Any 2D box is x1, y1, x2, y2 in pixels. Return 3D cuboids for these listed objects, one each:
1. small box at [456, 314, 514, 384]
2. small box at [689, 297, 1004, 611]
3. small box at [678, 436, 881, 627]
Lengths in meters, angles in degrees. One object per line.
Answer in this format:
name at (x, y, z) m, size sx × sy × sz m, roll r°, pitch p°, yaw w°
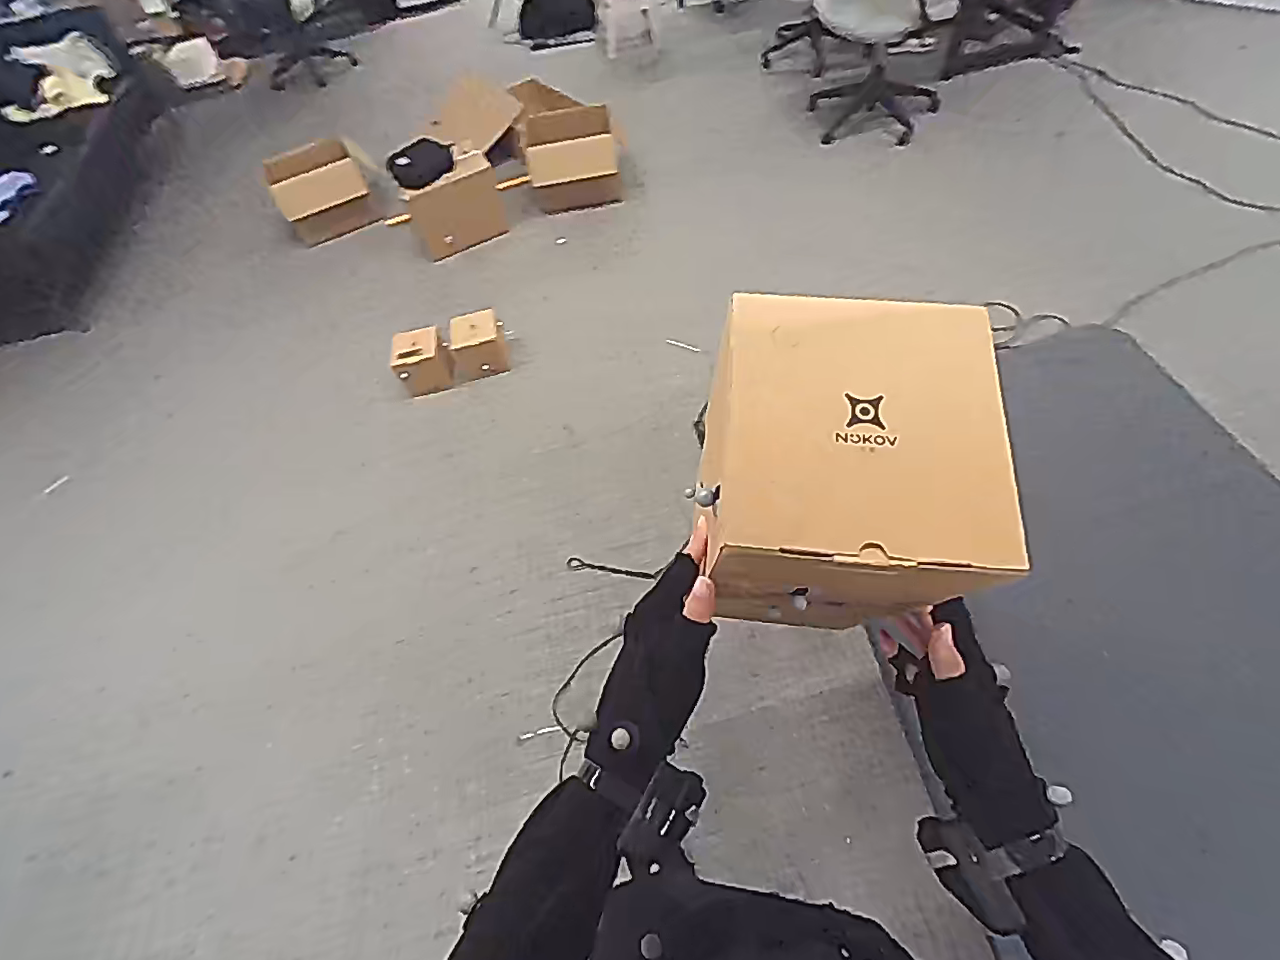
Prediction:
small box at (-0.590, -0.499, 2.066) m, size 0.168 × 0.176 × 0.179 m, roll -15°, pitch 56°, yaw -1°
small box at (0.125, -0.008, 0.402) m, size 0.168 × 0.176 × 0.179 m, roll 3°, pitch 69°, yaw 3°
small box at (0.133, 0.052, 0.553) m, size 0.179 × 0.176 × 0.168 m, roll 5°, pitch 69°, yaw 3°
